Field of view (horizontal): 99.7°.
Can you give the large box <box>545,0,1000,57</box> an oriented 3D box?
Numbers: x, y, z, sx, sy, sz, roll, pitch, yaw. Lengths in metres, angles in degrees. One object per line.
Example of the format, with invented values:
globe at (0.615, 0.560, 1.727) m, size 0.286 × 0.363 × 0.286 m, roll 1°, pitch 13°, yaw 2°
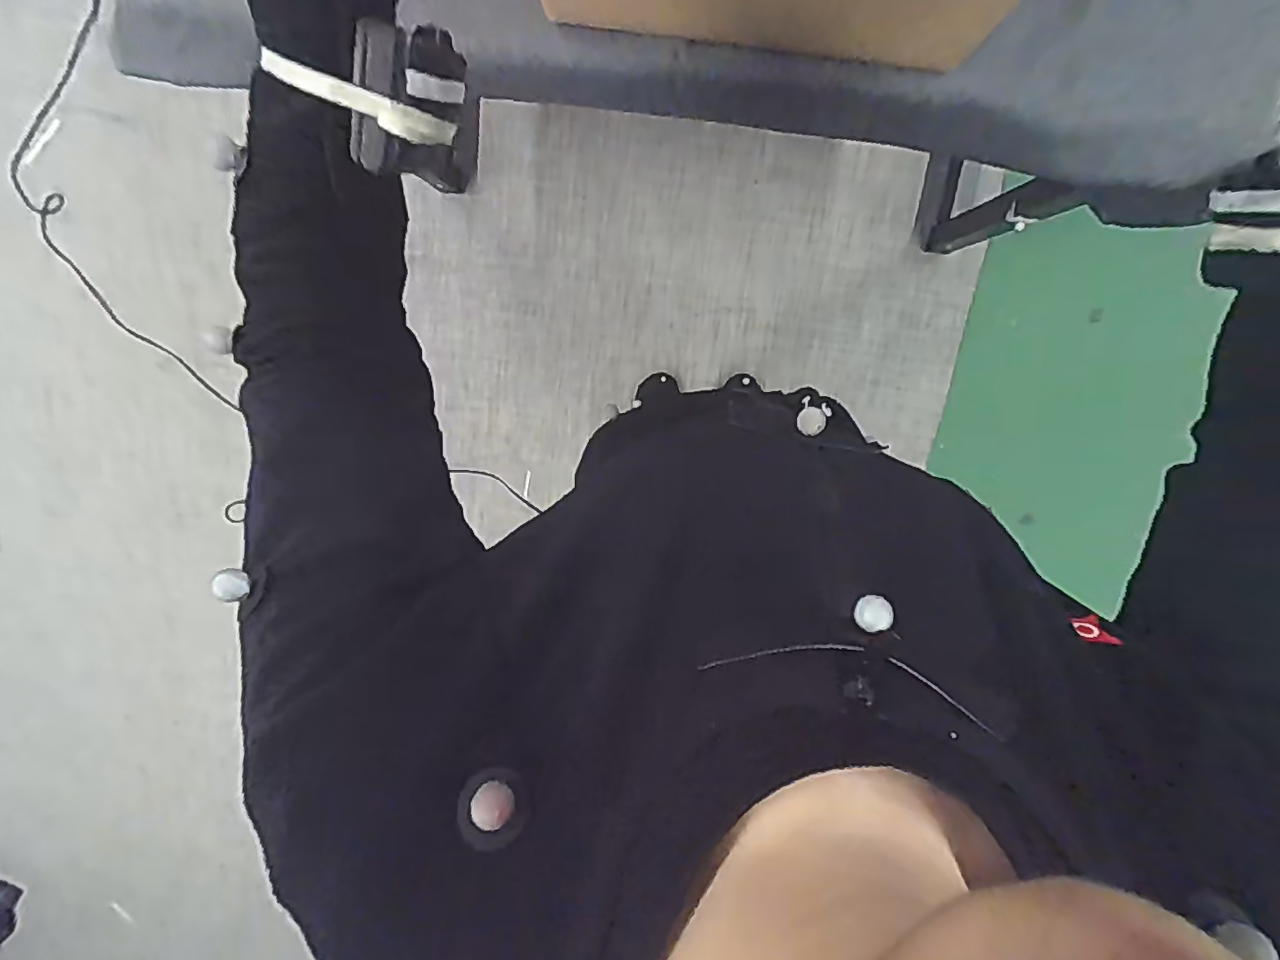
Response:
large box at (0.116, -0.547, 0.354) m, size 0.408 × 0.320 × 0.320 m, roll 7°, pitch 103°, yaw 1°
